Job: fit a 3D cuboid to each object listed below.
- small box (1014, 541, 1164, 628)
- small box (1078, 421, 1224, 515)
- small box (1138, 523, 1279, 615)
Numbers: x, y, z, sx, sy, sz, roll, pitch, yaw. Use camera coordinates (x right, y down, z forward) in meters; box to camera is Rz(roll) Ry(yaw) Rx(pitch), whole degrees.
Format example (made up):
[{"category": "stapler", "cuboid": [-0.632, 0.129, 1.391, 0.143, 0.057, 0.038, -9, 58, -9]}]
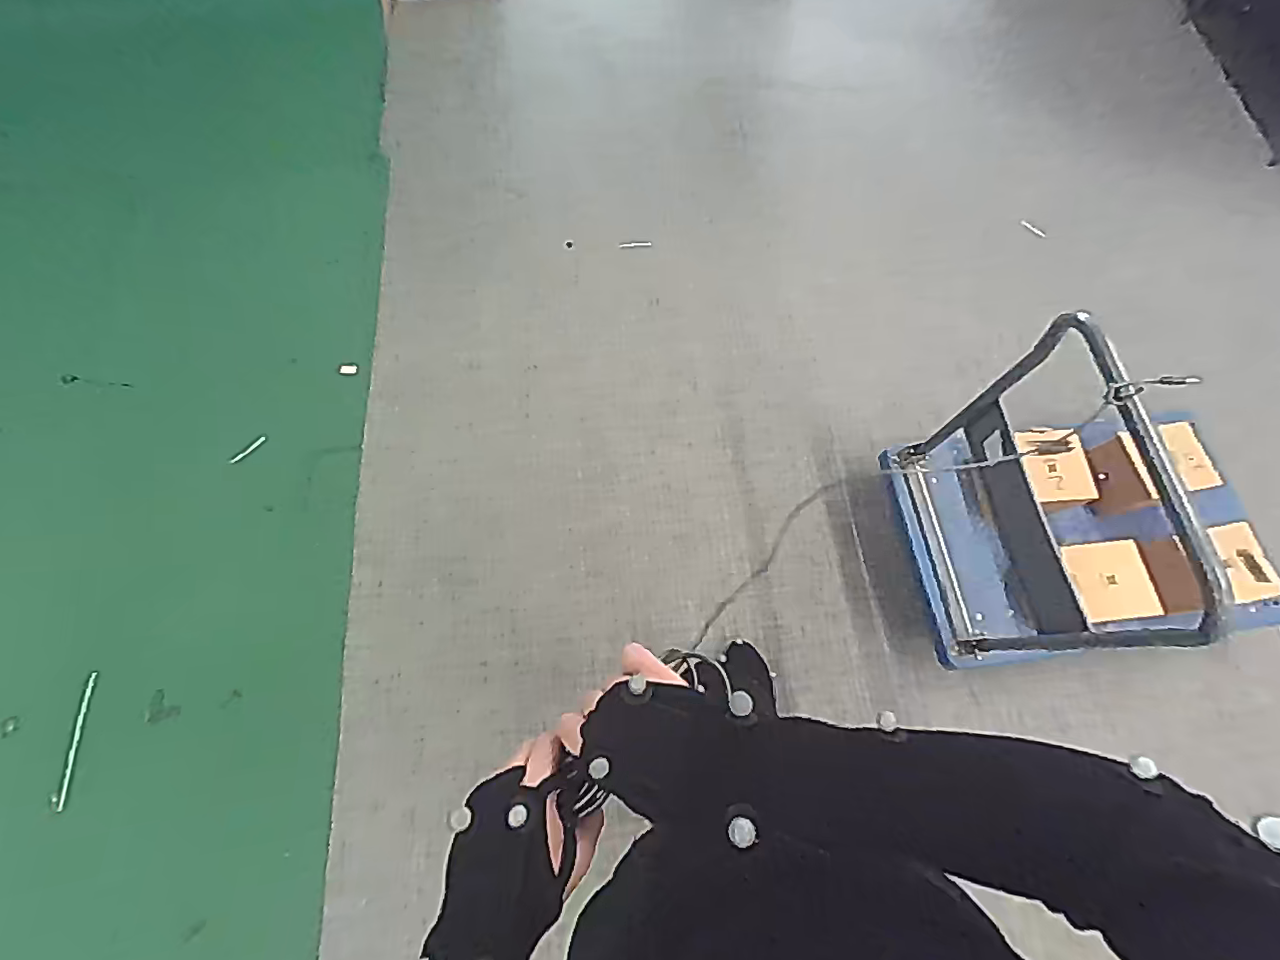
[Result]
[{"category": "small box", "cuboid": [1.013, 0.243, 1.236, 0.179, 0.176, 0.168, -6, 70, -1]}, {"category": "small box", "cuboid": [1.232, -0.023, 1.326, 0.179, 0.176, 0.168, -10, 71, -3]}, {"category": "small box", "cuboid": [1.281, 0.209, 1.242, 0.179, 0.176, 0.168, -11, 70, -2]}]
